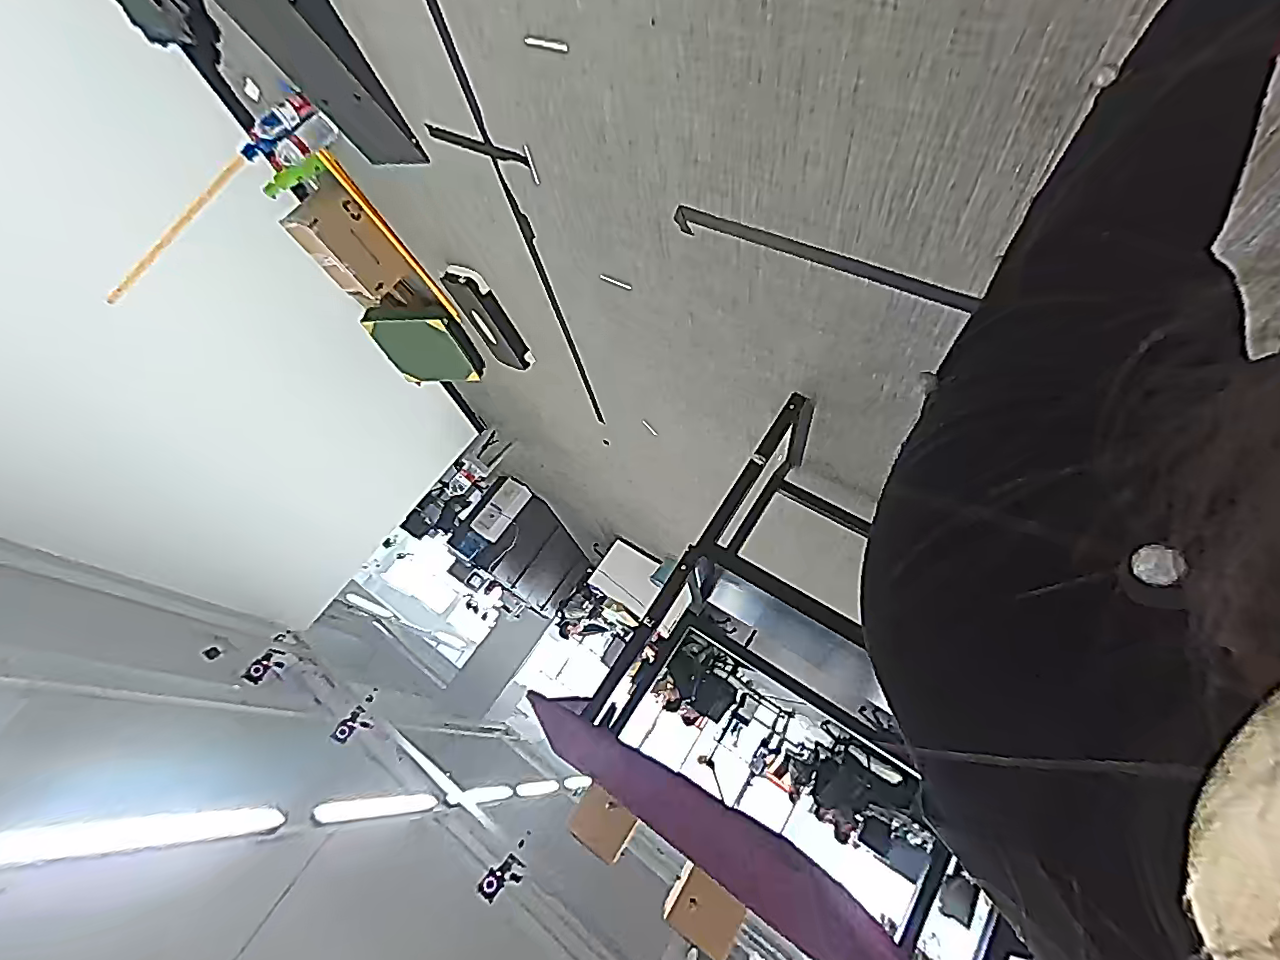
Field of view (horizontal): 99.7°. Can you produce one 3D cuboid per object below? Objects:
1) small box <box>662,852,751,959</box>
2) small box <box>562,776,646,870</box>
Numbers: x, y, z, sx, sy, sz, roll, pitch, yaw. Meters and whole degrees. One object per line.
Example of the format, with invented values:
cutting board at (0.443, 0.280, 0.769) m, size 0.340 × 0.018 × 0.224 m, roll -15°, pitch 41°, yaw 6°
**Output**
small box at (0.179, 1.172, 1.487) m, size 0.179 × 0.176 × 0.168 m, roll 30°, pitch 162°, yaw 16°
small box at (-0.104, 1.032, 1.648) m, size 0.179 × 0.176 × 0.168 m, roll 30°, pitch 162°, yaw 20°
